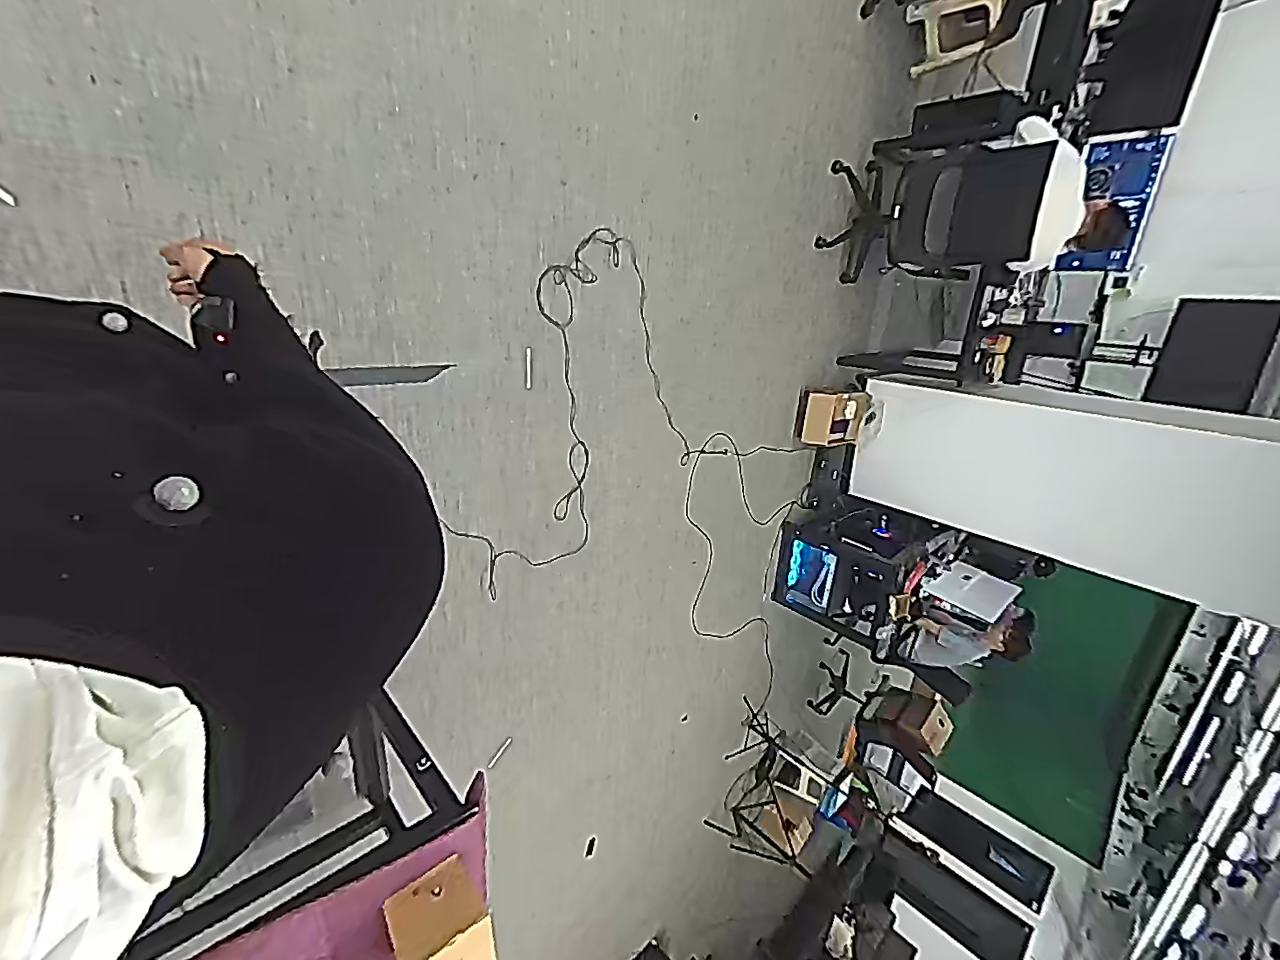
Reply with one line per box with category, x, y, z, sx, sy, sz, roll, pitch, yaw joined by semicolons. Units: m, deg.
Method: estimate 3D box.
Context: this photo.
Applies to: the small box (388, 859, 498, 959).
small box;-0.425;0.982;1.170;0.168;0.176;0.179;-18;117;-38
